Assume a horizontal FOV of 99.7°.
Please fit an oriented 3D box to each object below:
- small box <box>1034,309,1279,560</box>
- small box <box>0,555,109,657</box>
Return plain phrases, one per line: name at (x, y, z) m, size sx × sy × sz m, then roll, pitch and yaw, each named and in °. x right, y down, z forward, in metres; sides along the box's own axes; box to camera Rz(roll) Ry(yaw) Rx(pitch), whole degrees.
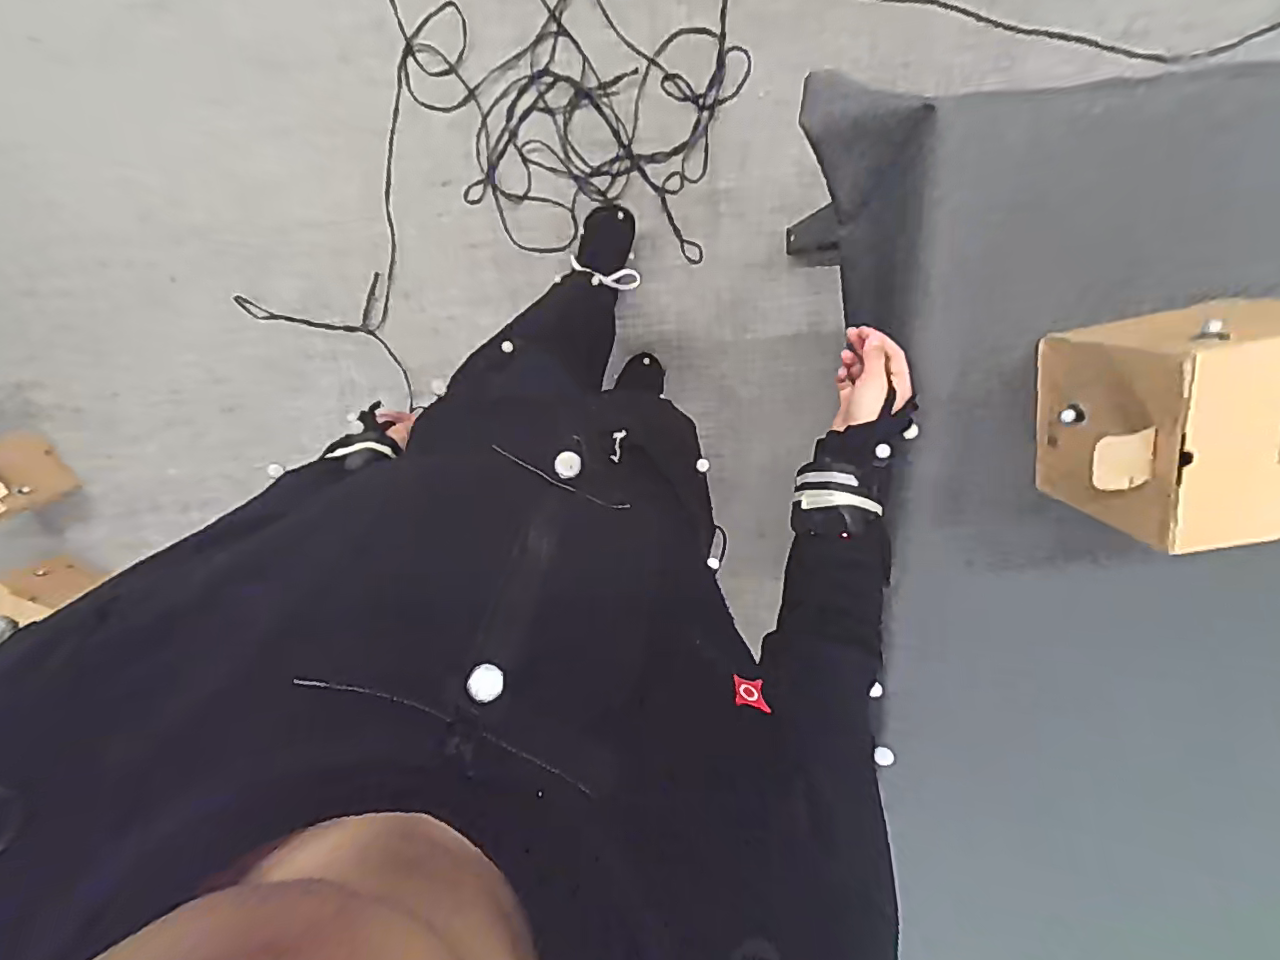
small box at (0.499, -0.052, 0.482) m, size 0.179 × 0.176 × 0.168 m, roll -11°, pitch 108°, yaw 6°
small box at (-1.615, 0.335, 1.471) m, size 0.168 × 0.176 × 0.179 m, roll 32°, pitch 108°, yaw -7°
